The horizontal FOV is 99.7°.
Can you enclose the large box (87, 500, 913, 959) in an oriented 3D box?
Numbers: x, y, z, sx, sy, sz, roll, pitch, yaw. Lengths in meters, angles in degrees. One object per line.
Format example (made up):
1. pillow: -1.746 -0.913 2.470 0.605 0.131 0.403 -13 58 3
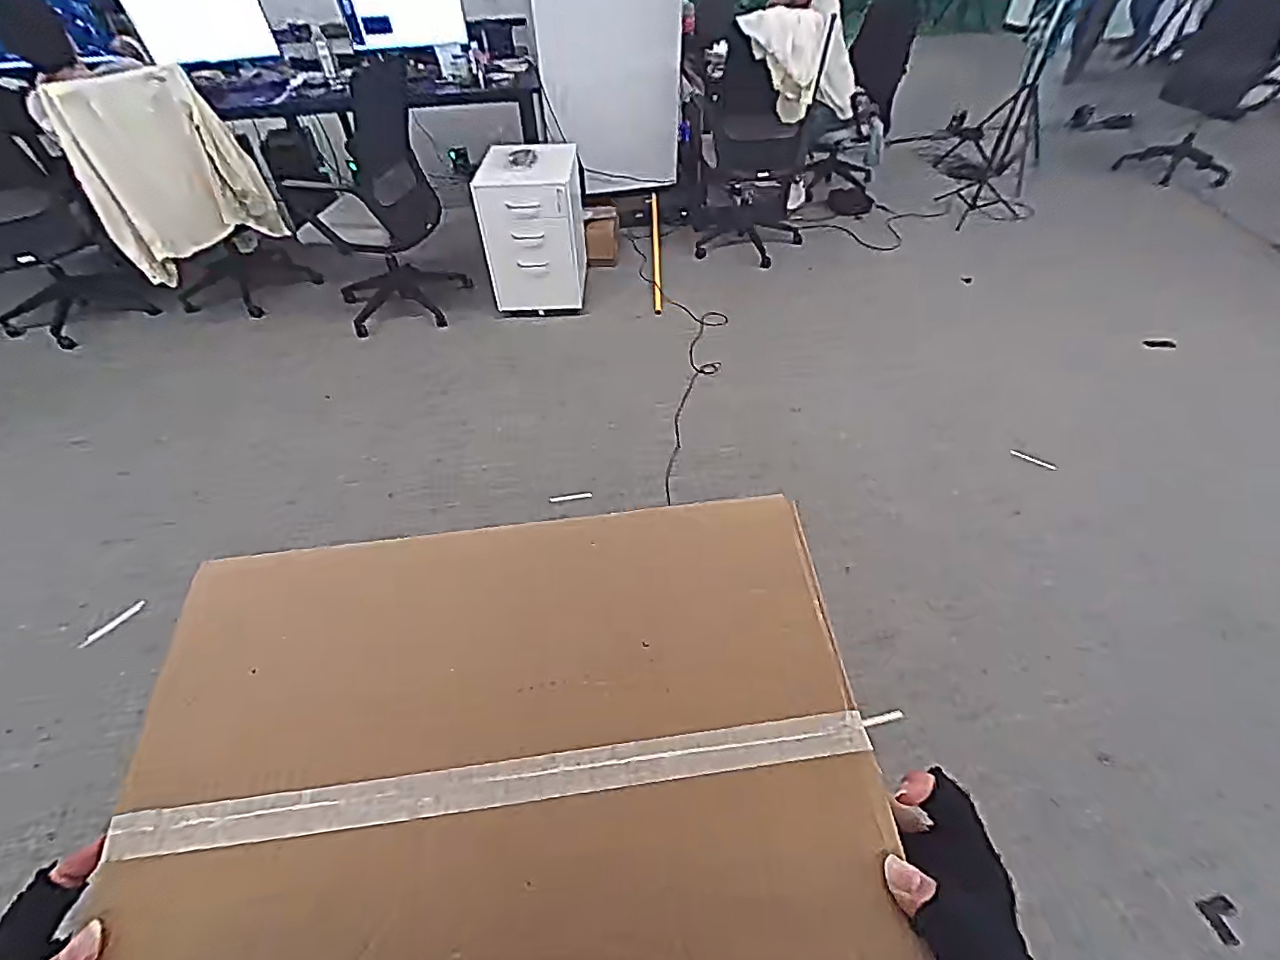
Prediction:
1. large box: -0.074 0.244 0.431 0.408 0.320 0.320 -7 57 -3
